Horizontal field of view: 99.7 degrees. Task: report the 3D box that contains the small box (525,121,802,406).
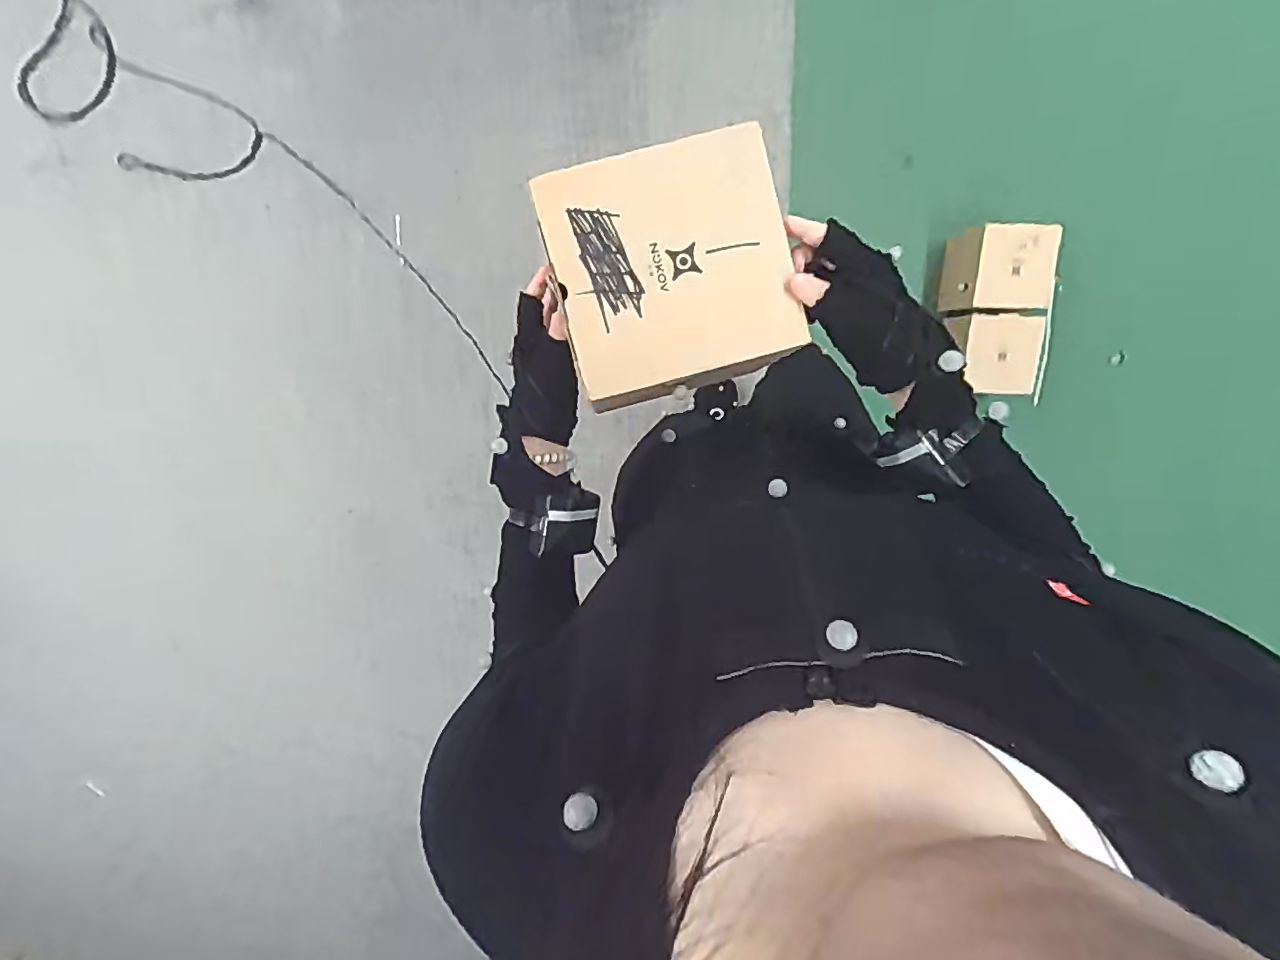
[{"bbox_3d":[0.017,-0.167,0.478,0.179,0.176,0.168,-15,94,-1],"label":"small box"}]
